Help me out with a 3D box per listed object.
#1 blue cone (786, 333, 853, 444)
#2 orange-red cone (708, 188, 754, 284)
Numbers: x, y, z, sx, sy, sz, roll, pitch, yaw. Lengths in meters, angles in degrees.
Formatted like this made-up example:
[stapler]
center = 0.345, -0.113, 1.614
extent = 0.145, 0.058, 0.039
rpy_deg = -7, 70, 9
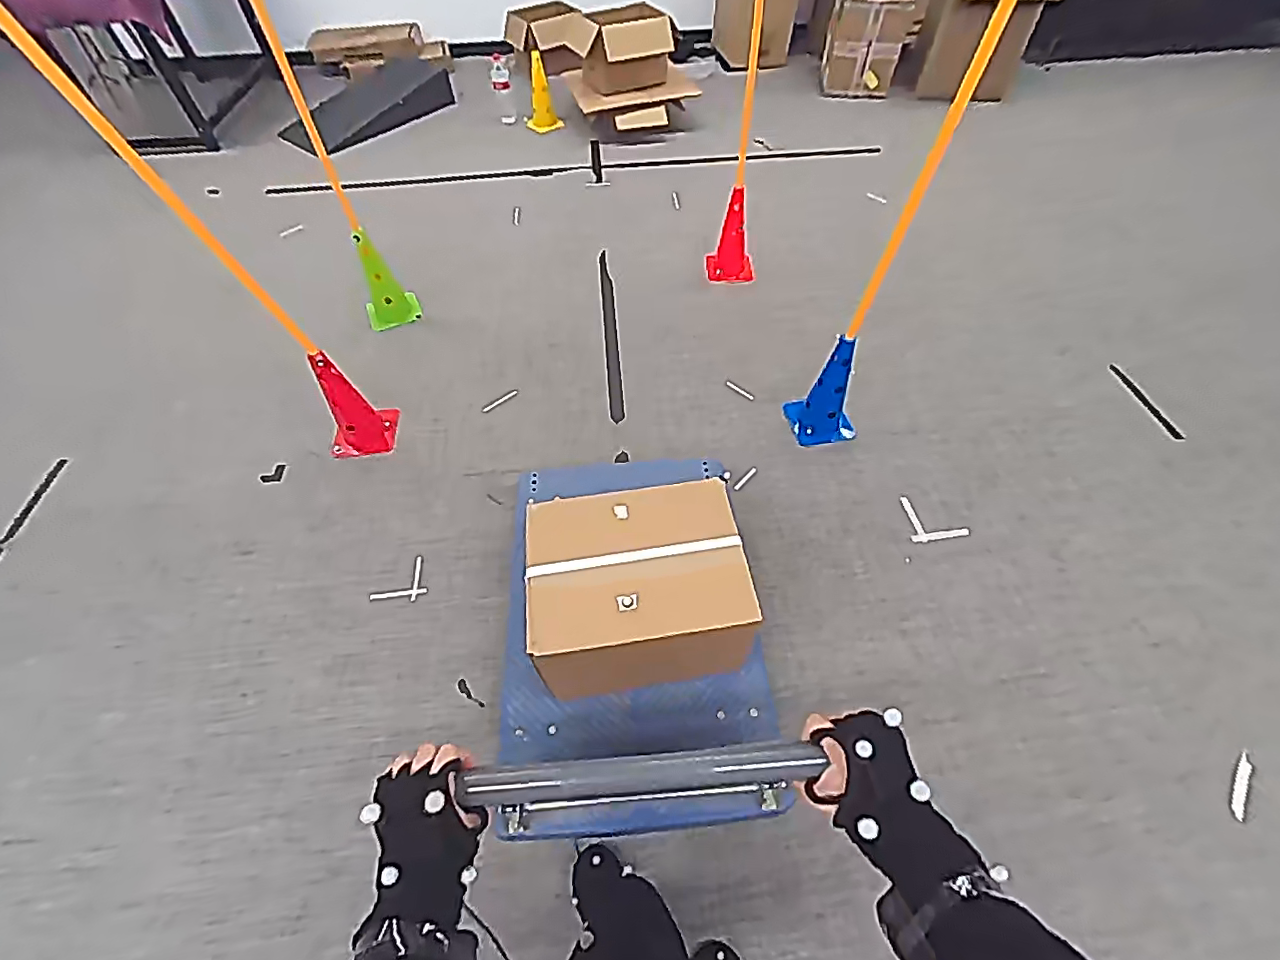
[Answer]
[blue cone]
center = 0.612, -0.300, 1.726
extent = 0.193, 0.380, 0.192
rpy_deg = -8, 53, -5
[orange-red cone]
center = 0.398, -1.022, 2.239
extent = 0.199, 0.360, 0.198
rpy_deg = 1, 55, 1
